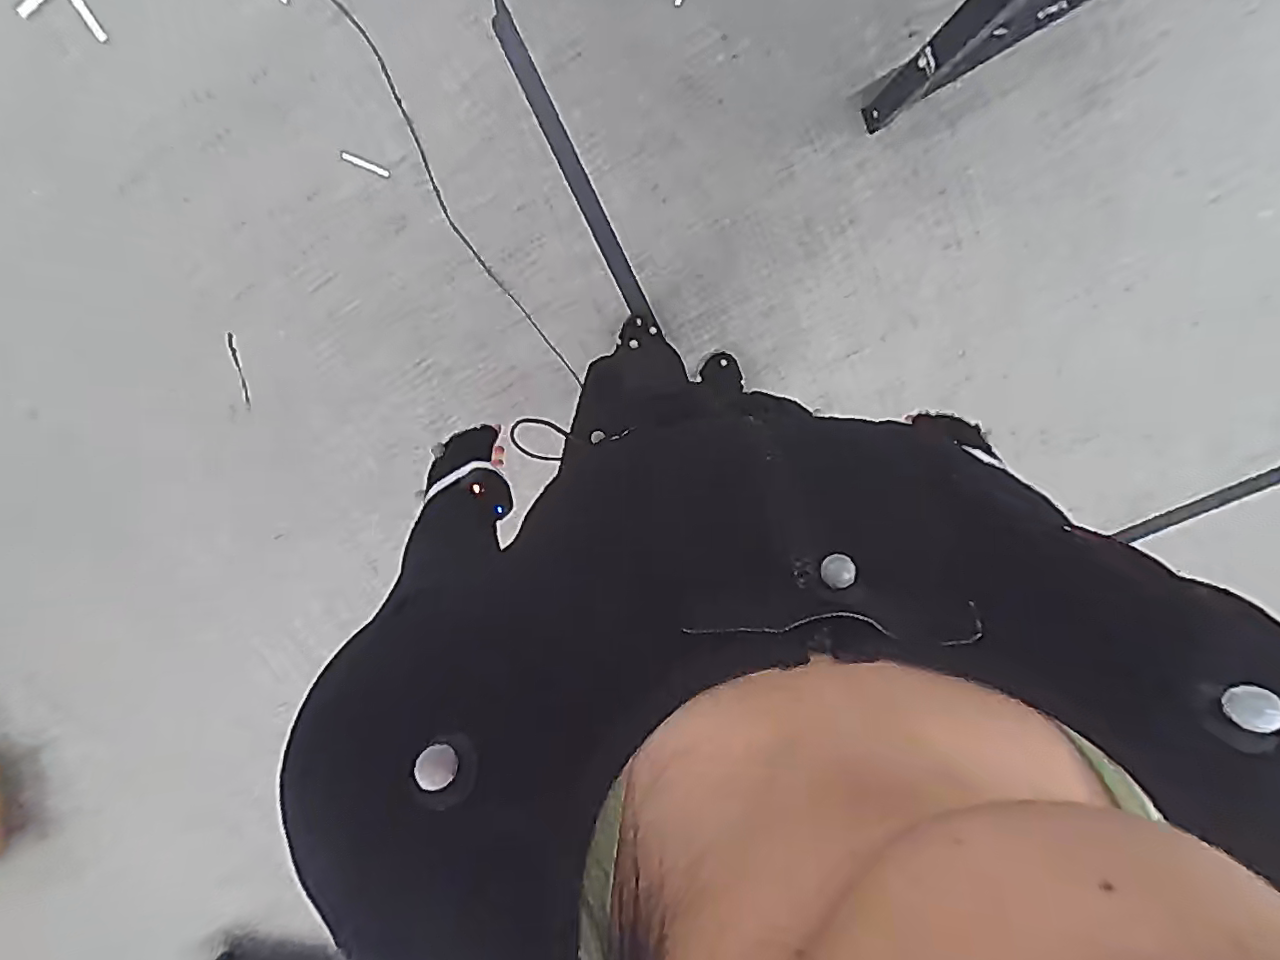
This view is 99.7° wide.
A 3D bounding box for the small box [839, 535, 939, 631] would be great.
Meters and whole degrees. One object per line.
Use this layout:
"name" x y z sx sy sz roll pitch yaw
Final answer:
"small box" 0.664 0.267 1.461 0.168 0.176 0.179 -27 104 11
